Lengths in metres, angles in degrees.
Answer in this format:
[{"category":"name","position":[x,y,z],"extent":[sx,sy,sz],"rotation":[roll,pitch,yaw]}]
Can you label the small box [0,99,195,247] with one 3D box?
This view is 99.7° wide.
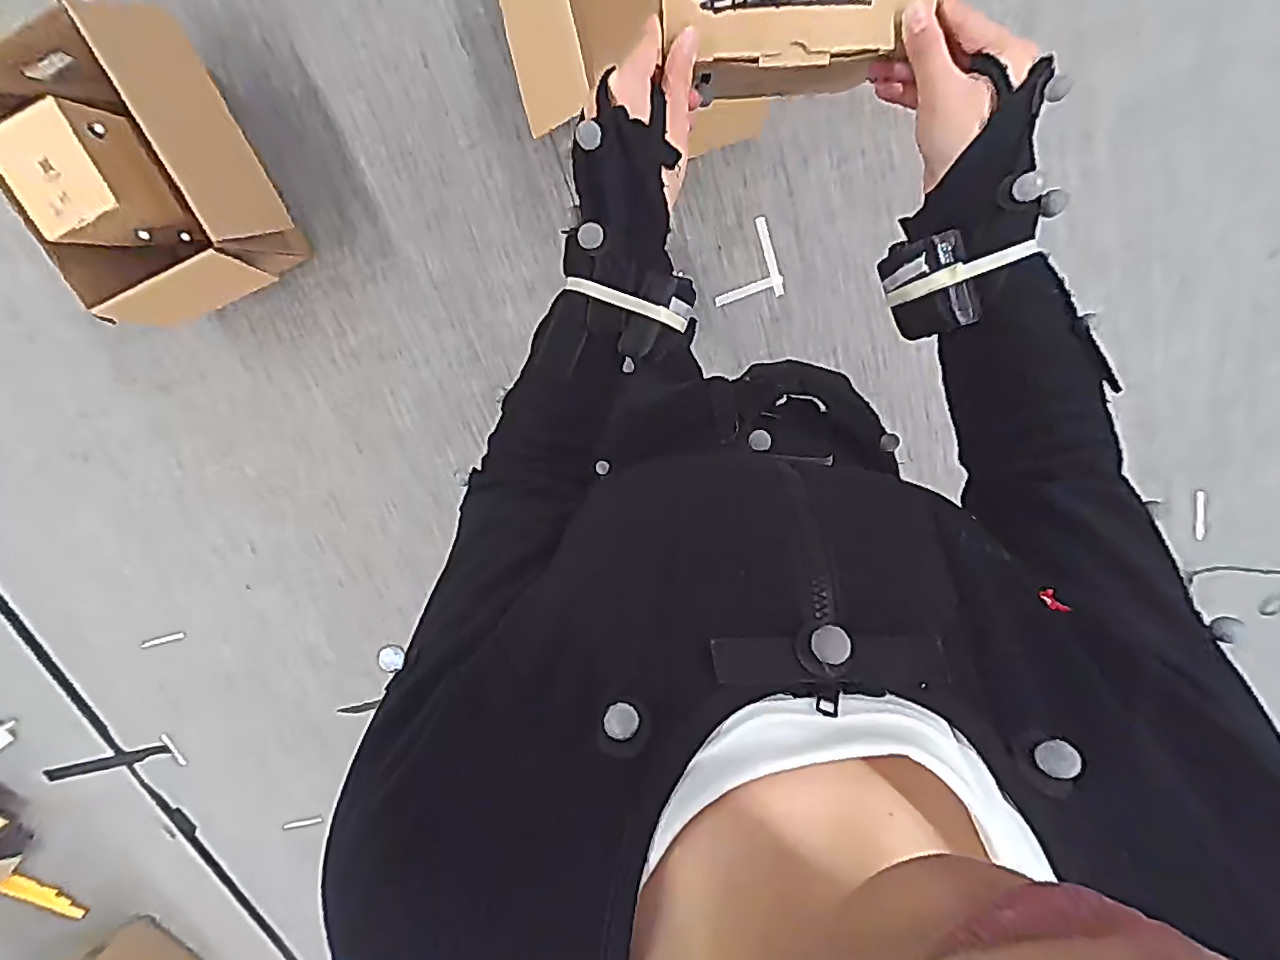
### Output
[{"category":"small box","position":[-0.993,-0.548,0.995],"extent":[0.168,0.176,0.179],"rotation":[-19,108,10]}]
